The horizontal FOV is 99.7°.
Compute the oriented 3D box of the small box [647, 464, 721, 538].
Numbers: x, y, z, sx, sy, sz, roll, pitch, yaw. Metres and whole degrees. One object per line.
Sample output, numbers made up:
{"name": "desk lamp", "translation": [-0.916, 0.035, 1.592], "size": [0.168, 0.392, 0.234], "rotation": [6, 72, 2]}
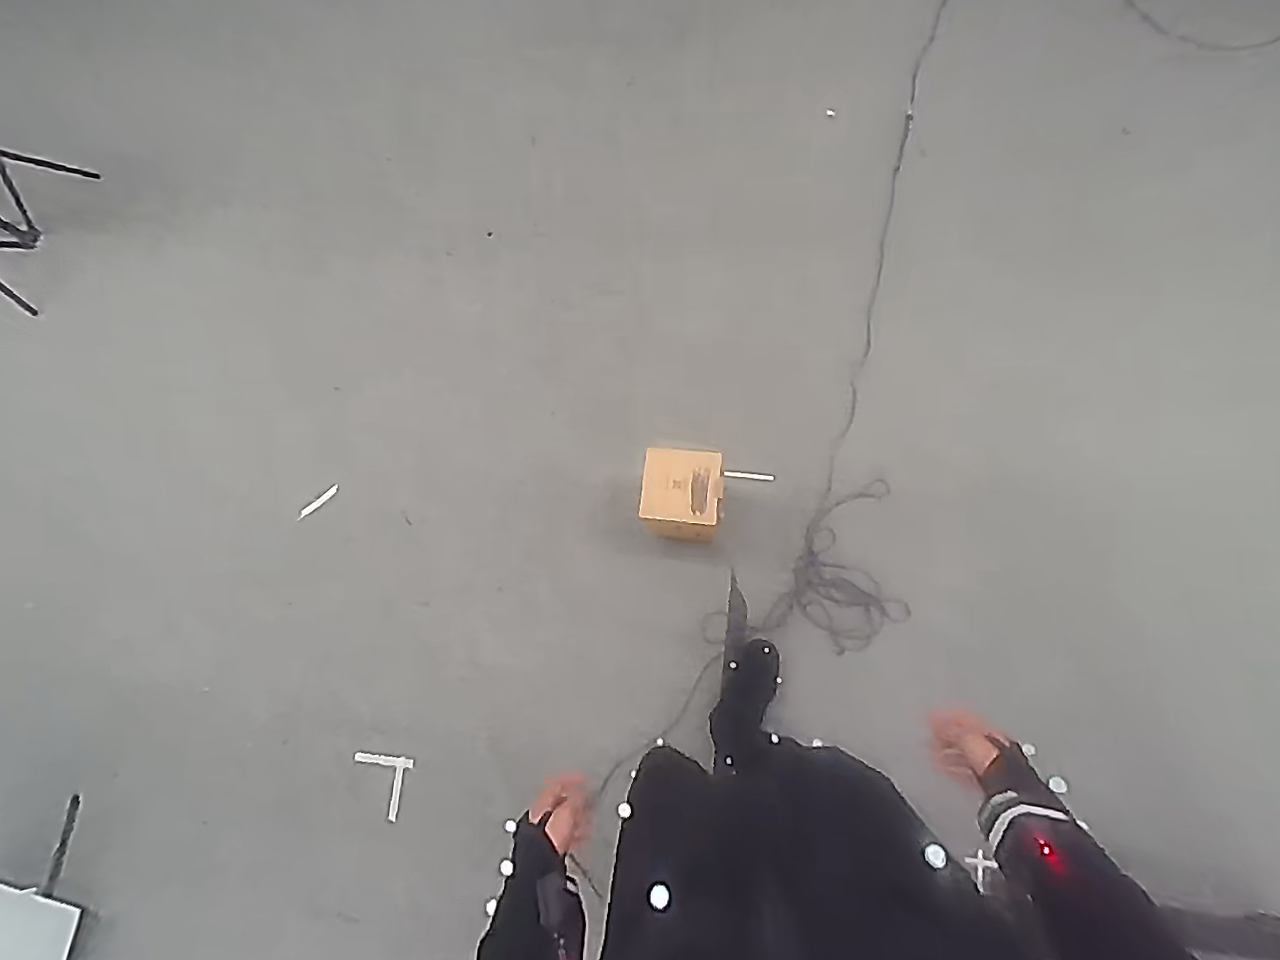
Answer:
{"name": "small box", "translation": [0.121, 0.061, 1.433], "size": [0.179, 0.176, 0.168], "rotation": [3, 78, 9]}
